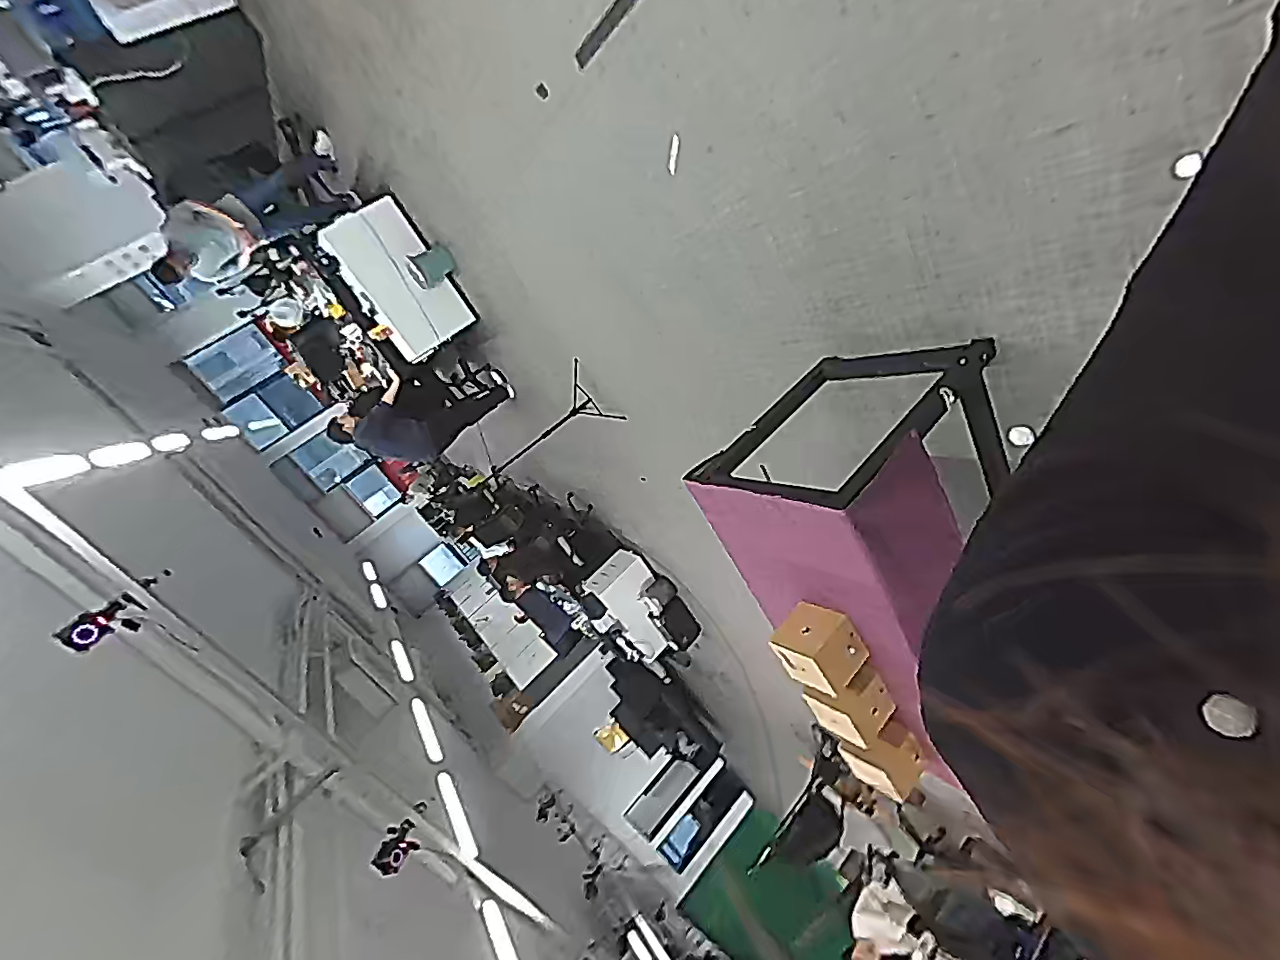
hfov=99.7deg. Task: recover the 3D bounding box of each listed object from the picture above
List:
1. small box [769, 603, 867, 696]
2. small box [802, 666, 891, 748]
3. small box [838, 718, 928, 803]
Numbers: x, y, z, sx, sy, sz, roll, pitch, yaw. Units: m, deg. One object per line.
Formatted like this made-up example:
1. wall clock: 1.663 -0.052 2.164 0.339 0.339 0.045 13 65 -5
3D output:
1. small box: 0.516 0.481 1.567 0.168 0.176 0.179 55 158 -19
2. small box: 0.638 0.670 1.656 0.168 0.176 0.179 57 158 -22
3. small box: 0.785 0.884 1.746 0.168 0.176 0.179 56 158 -20
